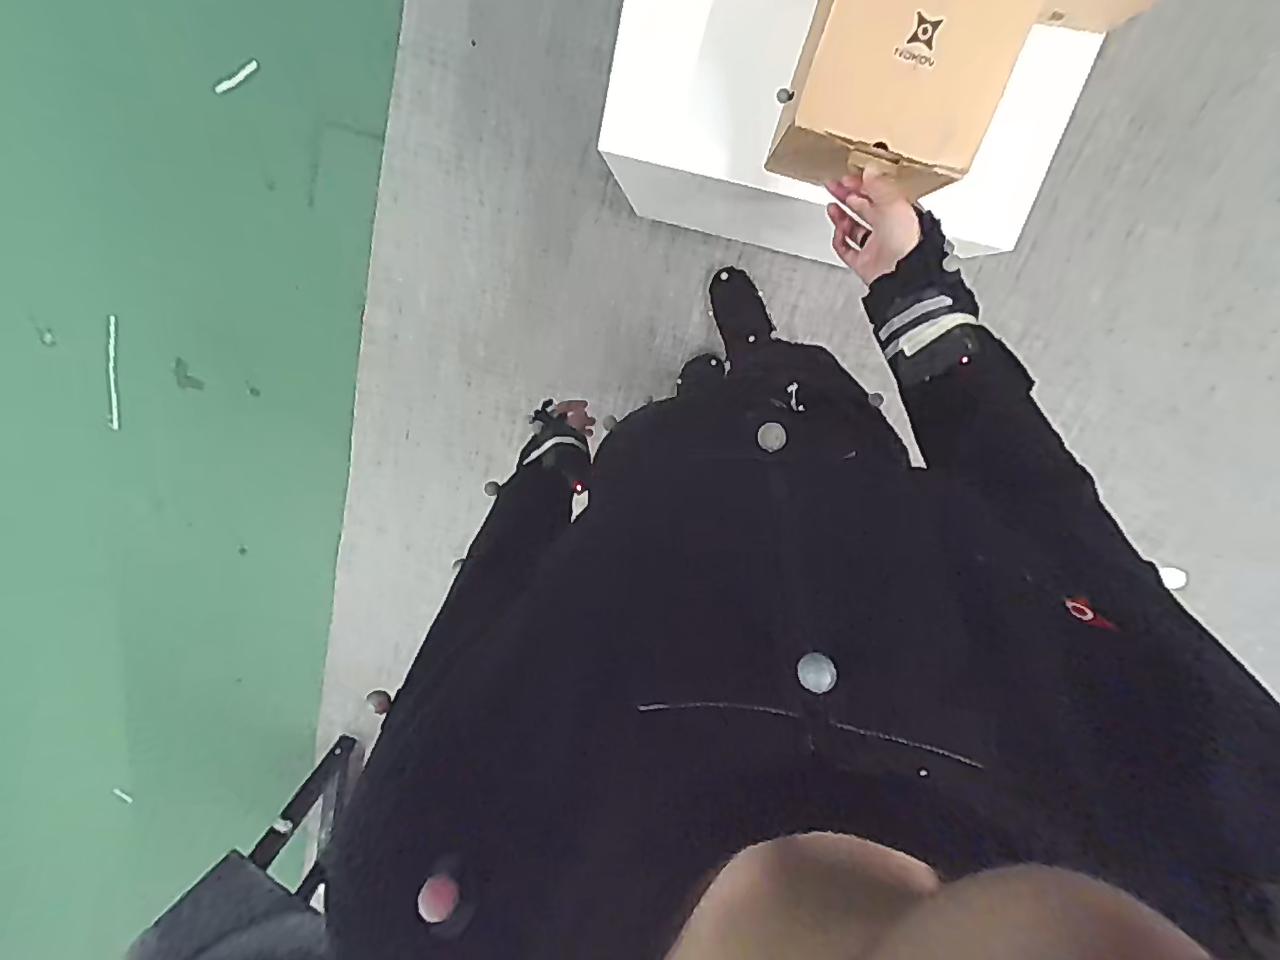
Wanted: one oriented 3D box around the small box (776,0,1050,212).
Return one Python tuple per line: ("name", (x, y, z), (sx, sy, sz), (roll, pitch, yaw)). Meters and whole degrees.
("small box", (0.244, -0.386, 0.531), (0.168, 0.176, 0.179), (17, 107, -1))
